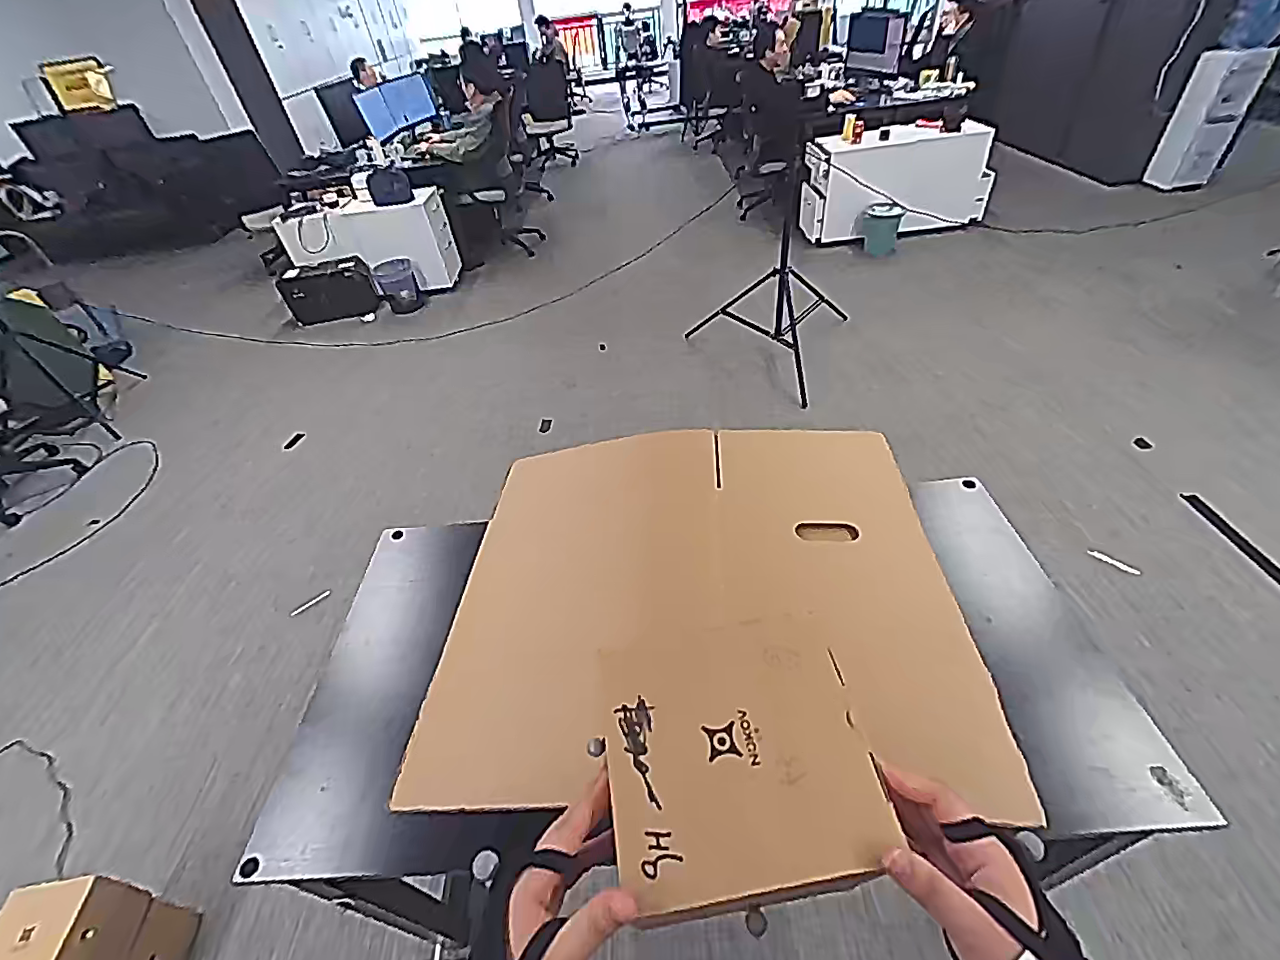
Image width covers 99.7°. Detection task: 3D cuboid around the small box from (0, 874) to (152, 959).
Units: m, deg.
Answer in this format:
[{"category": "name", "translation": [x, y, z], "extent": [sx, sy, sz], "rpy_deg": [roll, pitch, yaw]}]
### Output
[{"category": "small box", "translation": [-1.135, 0.916, 1.068], "extent": [0.168, 0.176, 0.179], "rpy_deg": [-9, 41, -2]}]

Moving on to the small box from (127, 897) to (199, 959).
[{"category": "small box", "translation": [-1.117, 1.039, 1.173], "extent": [0.168, 0.176, 0.179], "rpy_deg": [-8, 43, 0]}]
